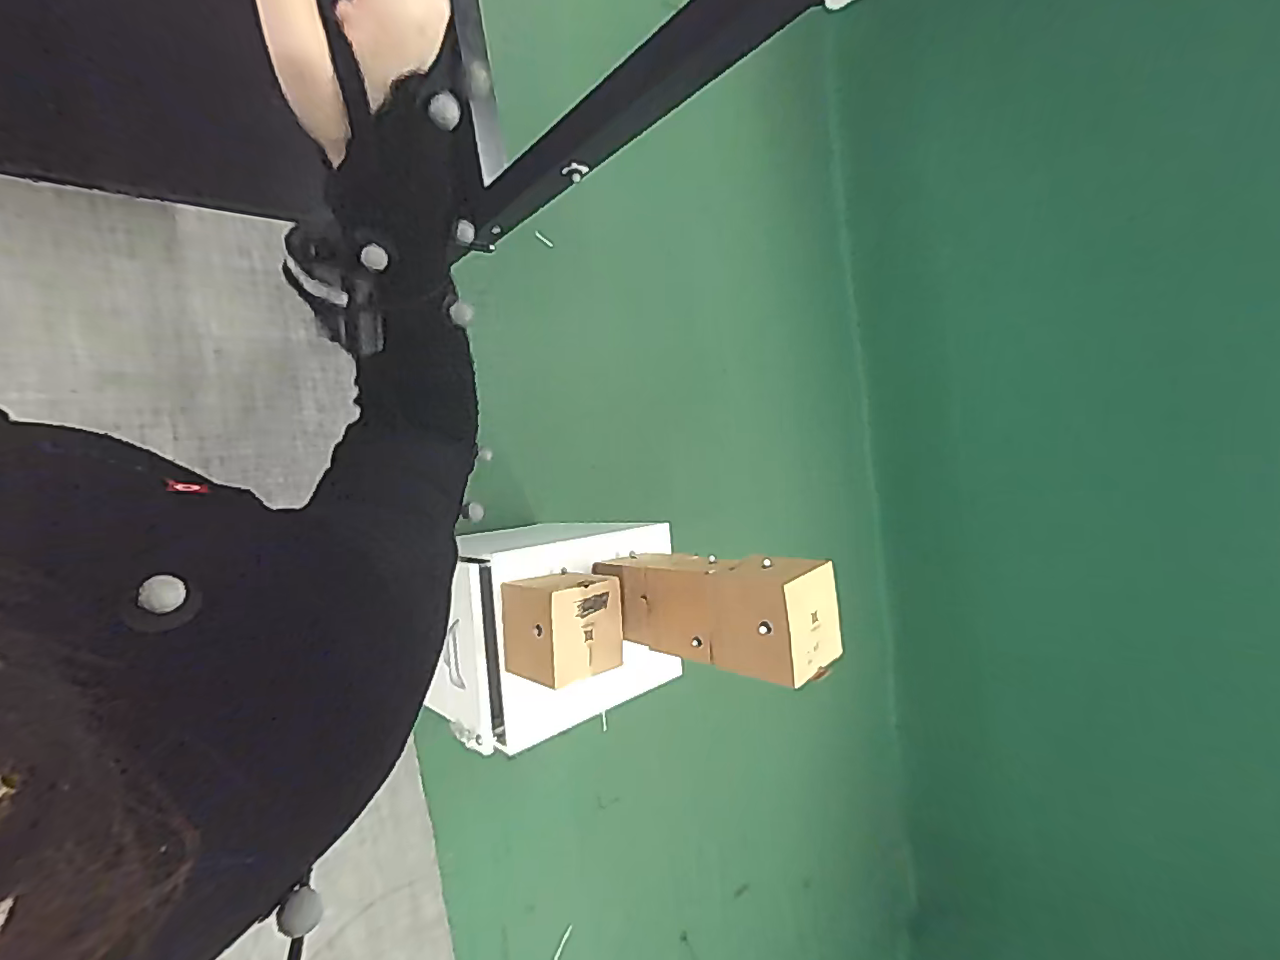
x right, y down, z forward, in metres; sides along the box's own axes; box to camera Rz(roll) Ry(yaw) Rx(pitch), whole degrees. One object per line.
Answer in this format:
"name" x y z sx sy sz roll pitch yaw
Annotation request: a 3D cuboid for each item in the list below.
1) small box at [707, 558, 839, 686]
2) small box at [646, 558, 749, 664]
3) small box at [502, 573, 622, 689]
"small box" 0.235 0.241 0.973 0.168 0.176 0.179 -11 96 -43
"small box" 0.125 0.252 1.095 0.168 0.176 0.179 -1 89 -44
"small box" -0.153 0.278 1.045 0.168 0.176 0.179 -2 89 -45
